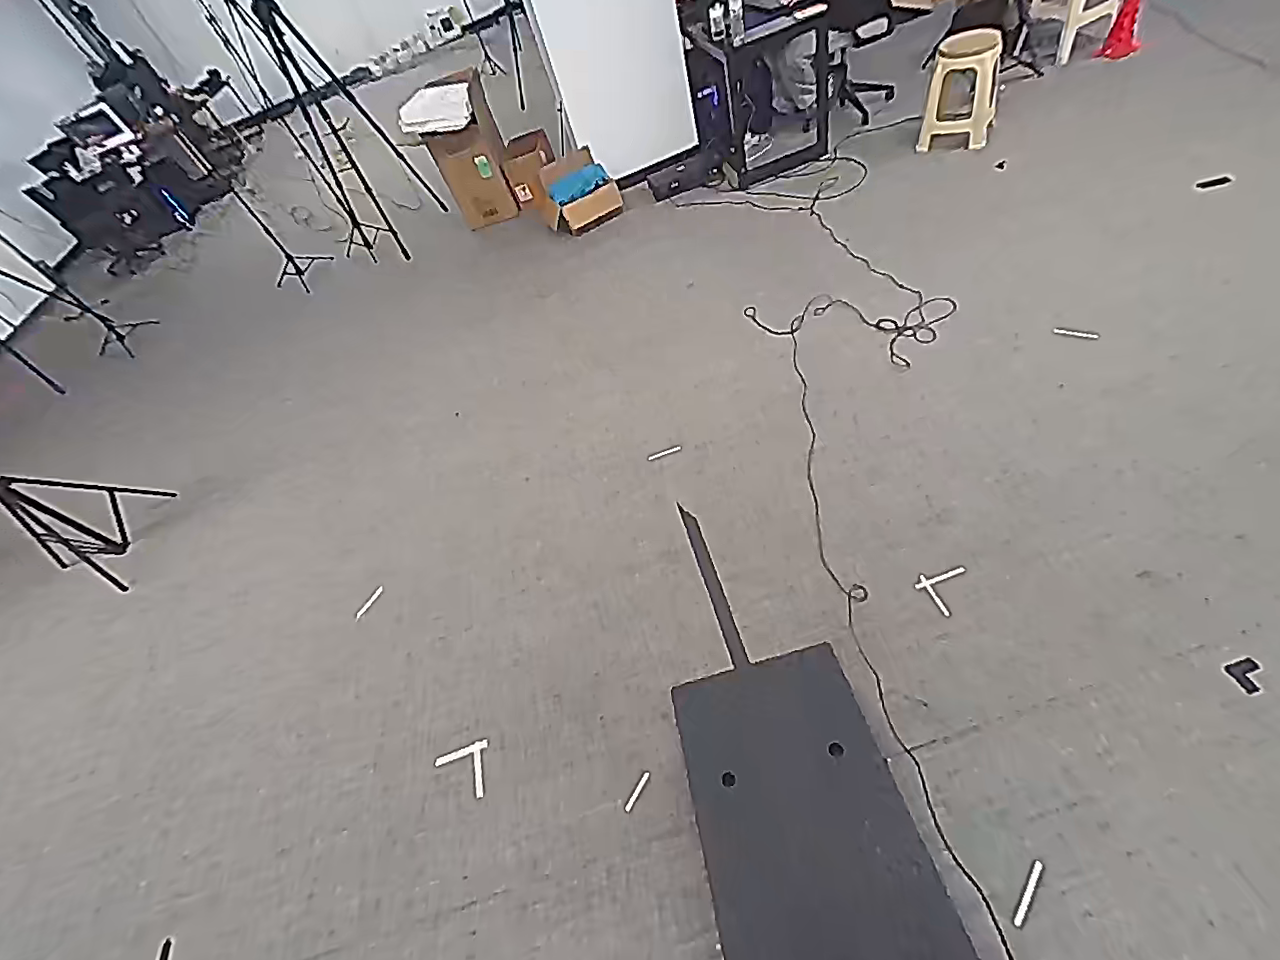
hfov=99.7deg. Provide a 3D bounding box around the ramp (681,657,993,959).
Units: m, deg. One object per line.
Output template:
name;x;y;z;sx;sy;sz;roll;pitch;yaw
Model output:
ramp;0.419;0.892;1.208;0.509;0.206;0.991;-22;47;4
